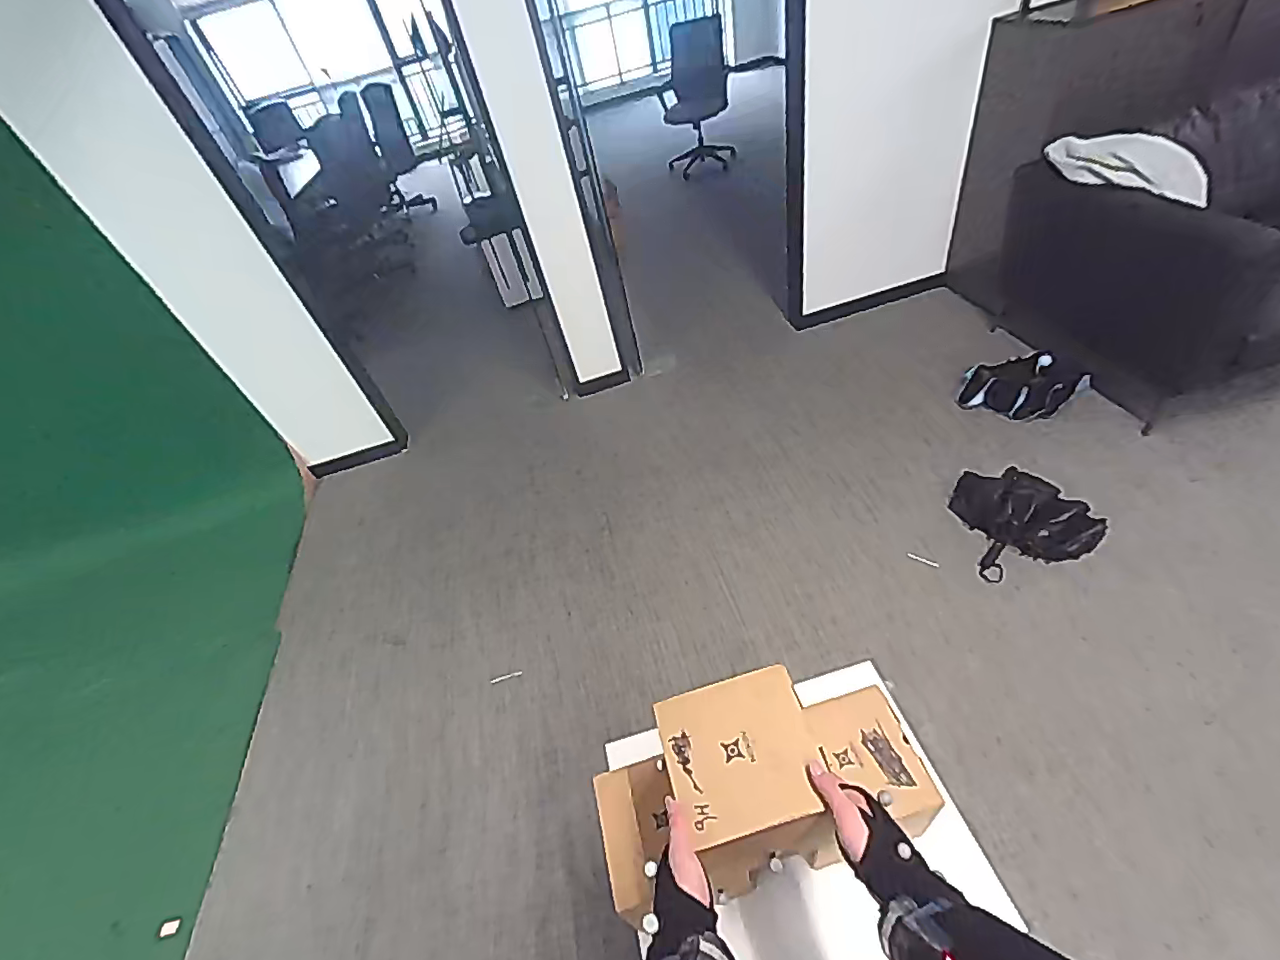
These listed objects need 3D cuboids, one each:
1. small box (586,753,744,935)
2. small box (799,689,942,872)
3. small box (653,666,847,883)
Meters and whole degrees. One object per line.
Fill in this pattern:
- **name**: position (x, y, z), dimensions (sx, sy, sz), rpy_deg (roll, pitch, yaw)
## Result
- **small box**: position (0.037, 0.509, 0.768), dimensions (0.179, 0.176, 0.168), rpy_deg (-17, 42, -4)
- **small box**: position (0.292, 0.436, 0.783), dimensions (0.179, 0.176, 0.168), rpy_deg (-16, 43, -2)
- **small box**: position (0.125, 0.361, 0.662), dimensions (0.179, 0.176, 0.168), rpy_deg (-15, 43, -3)
